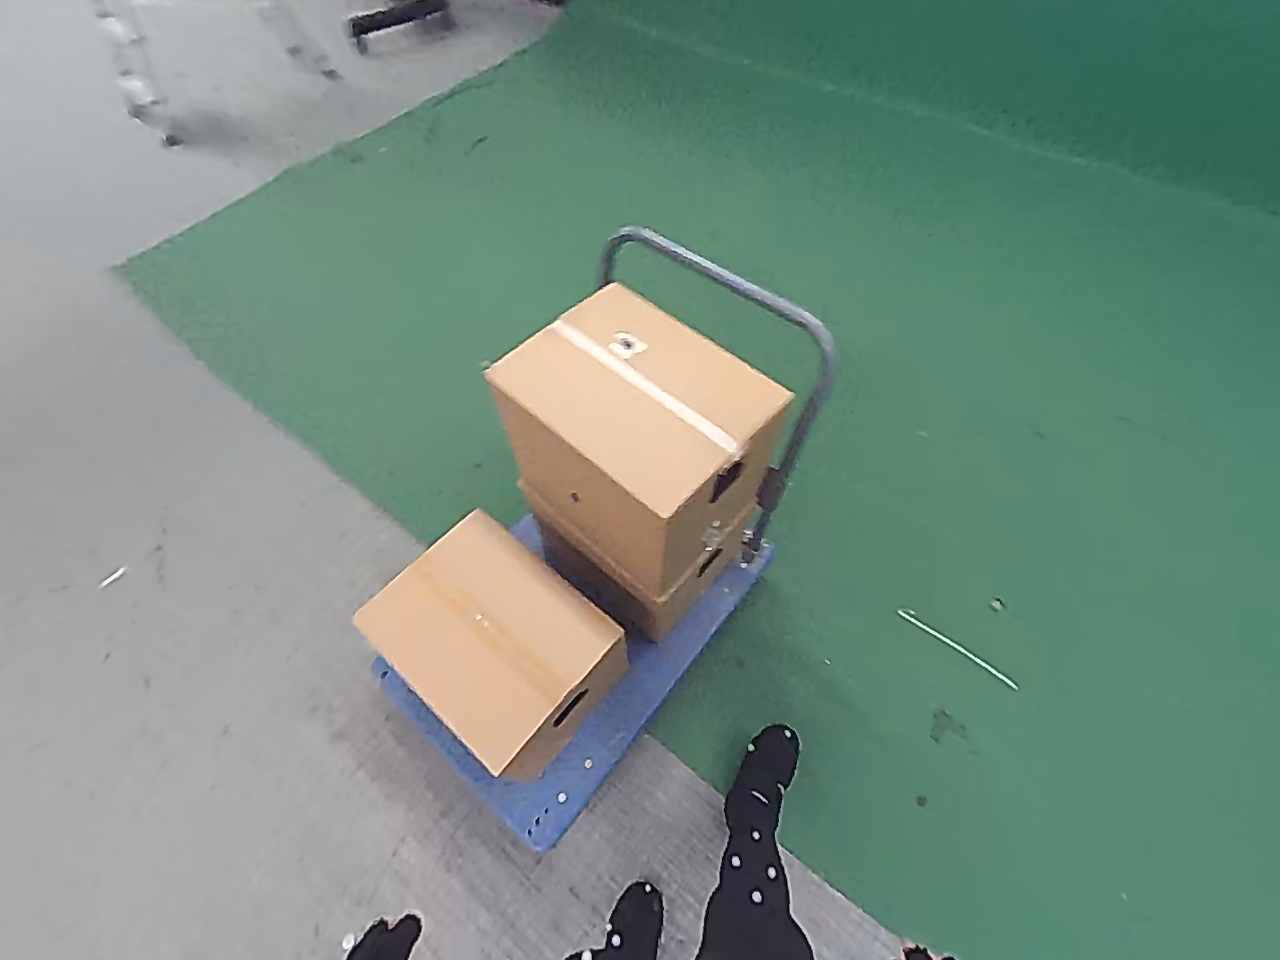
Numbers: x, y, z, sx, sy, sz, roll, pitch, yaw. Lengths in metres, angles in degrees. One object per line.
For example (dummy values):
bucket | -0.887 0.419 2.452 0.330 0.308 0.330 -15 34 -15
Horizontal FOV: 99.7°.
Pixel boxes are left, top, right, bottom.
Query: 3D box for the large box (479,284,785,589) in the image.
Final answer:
large box | -0.011 -0.077 0.990 0.408 0.320 0.320 38 65 22
